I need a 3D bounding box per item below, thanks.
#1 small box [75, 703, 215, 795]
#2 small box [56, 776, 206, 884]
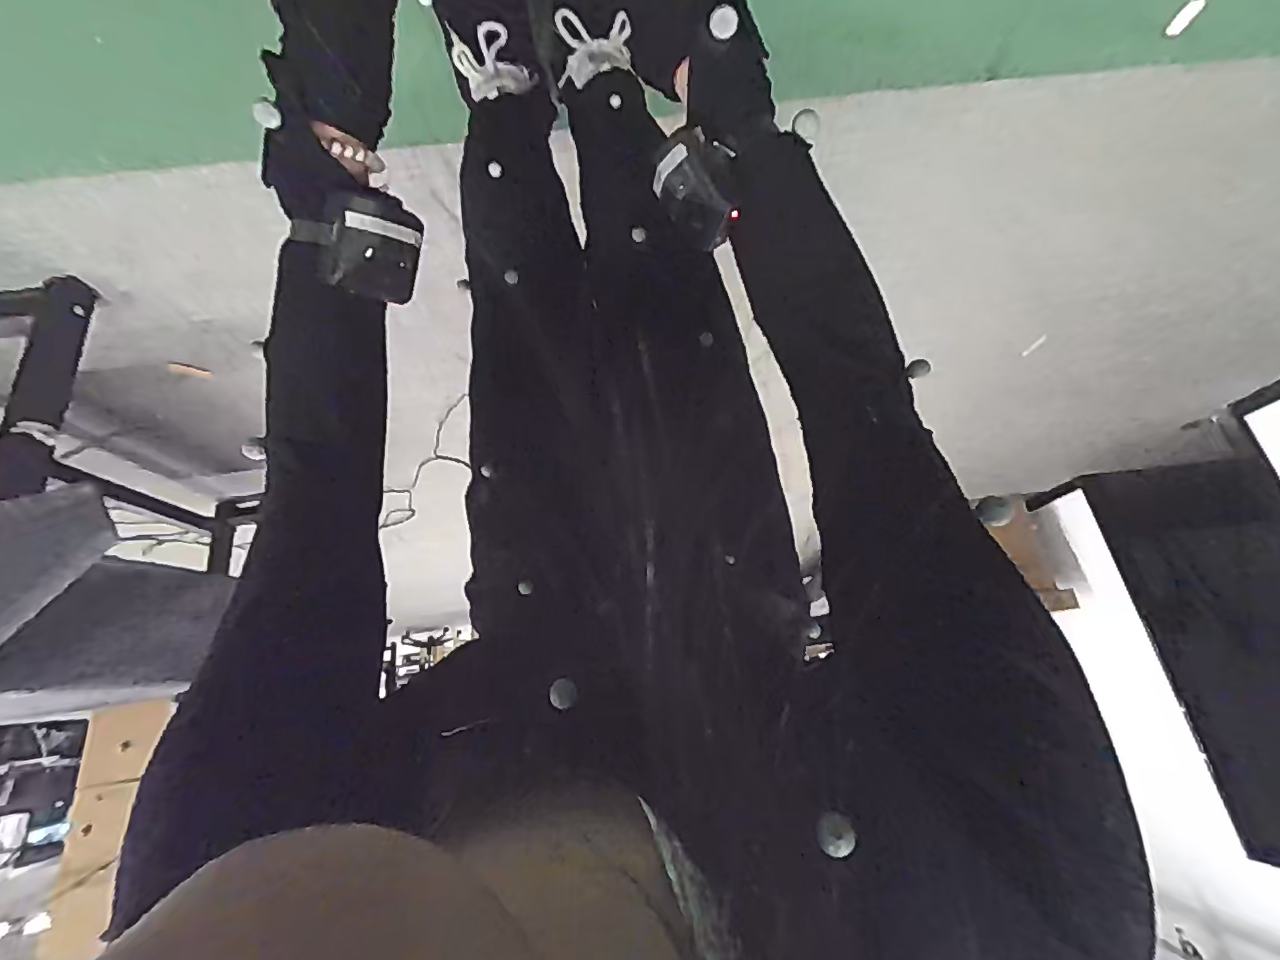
[{"bbox_3d":[-1.165,0.635,1.290,0.179,0.176,0.168,-8,159,-3],"label":"small box"},{"bbox_3d":[-1.147,0.787,1.235,0.168,0.176,0.179,-7,159,0],"label":"small box"}]
